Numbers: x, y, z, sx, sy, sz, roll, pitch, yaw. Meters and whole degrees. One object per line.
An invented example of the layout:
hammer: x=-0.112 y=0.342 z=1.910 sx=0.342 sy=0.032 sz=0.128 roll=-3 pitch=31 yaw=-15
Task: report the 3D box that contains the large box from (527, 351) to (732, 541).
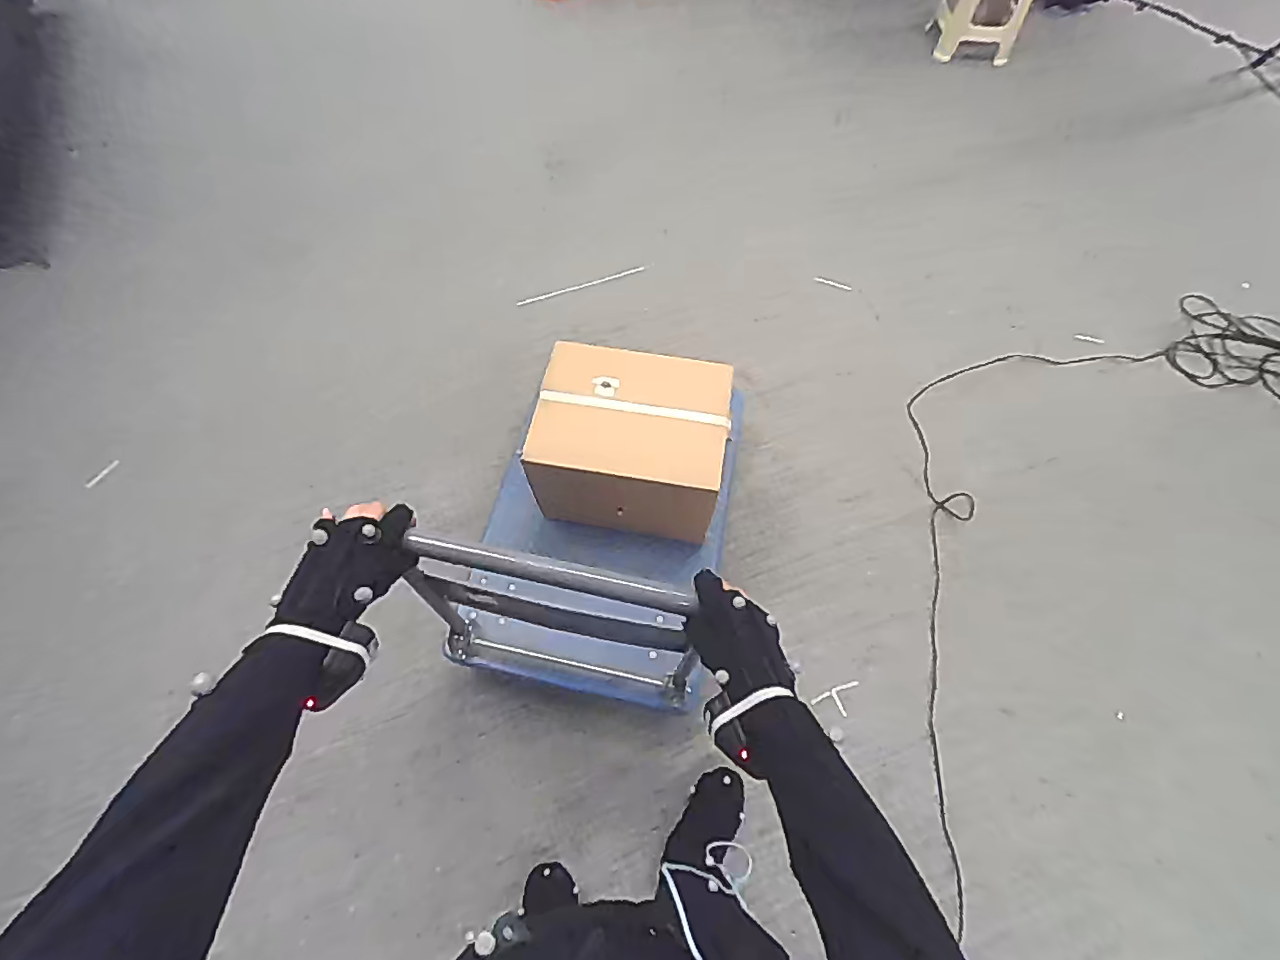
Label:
large box: x=-0.009 y=-0.068 z=1.277 sx=0.408 sy=0.320 sz=0.320 roll=8 pitch=63 yaw=4
